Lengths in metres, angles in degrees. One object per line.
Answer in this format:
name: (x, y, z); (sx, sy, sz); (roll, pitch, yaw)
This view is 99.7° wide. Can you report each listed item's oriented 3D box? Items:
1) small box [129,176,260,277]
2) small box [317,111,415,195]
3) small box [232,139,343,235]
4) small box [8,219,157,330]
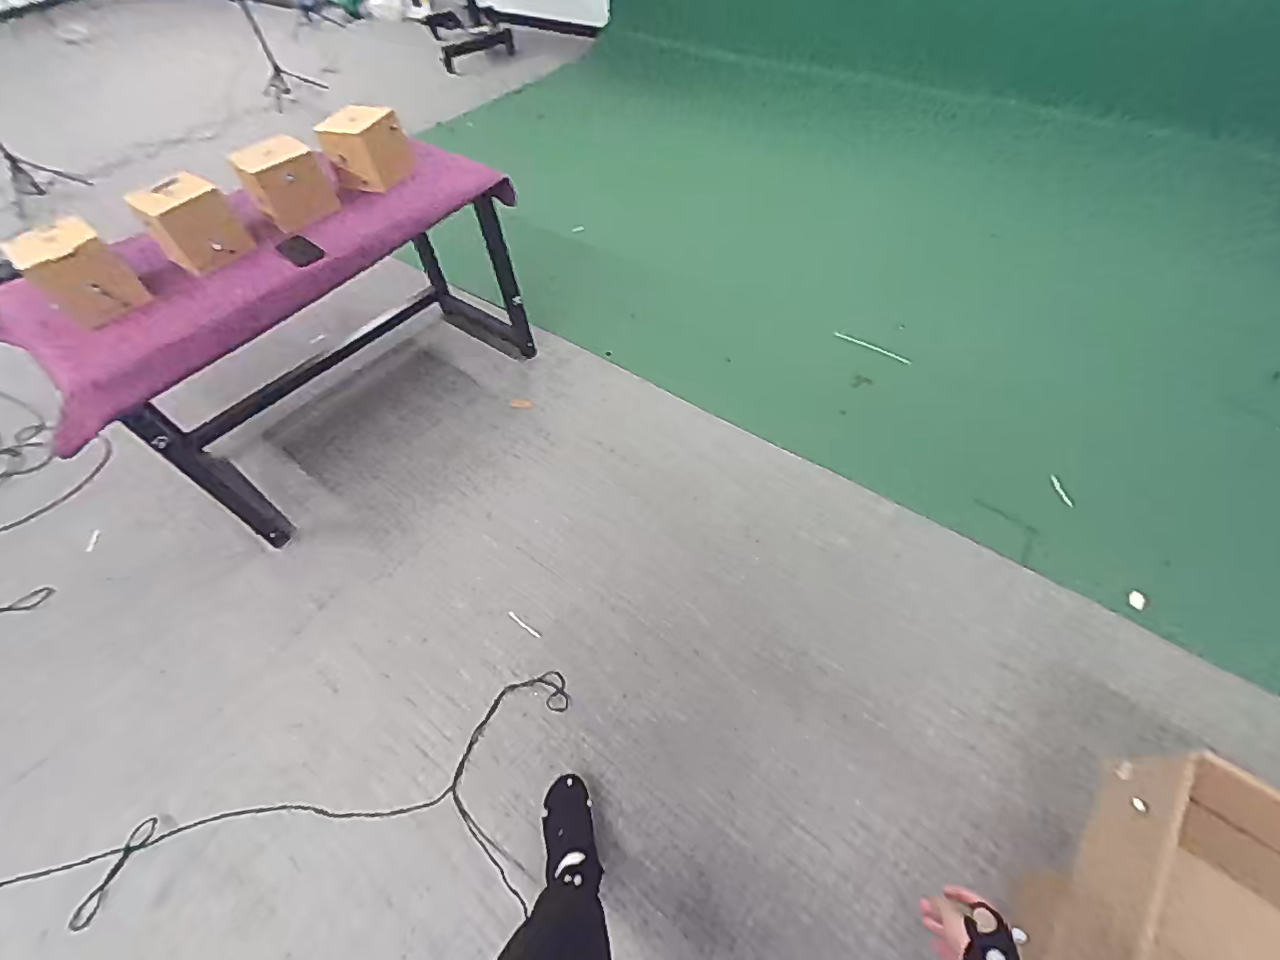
small box: (-1.160, -0.662, 1.419); (0.179, 0.176, 0.168); (29, 61, 22)
small box: (-0.813, -0.984, 1.630); (0.168, 0.176, 0.179); (13, 55, 15)
small box: (-0.986, -0.823, 1.525); (0.168, 0.176, 0.179); (36, 64, 26)
small box: (-1.332, -0.490, 1.306); (0.179, 0.176, 0.168); (34, 62, 25)
